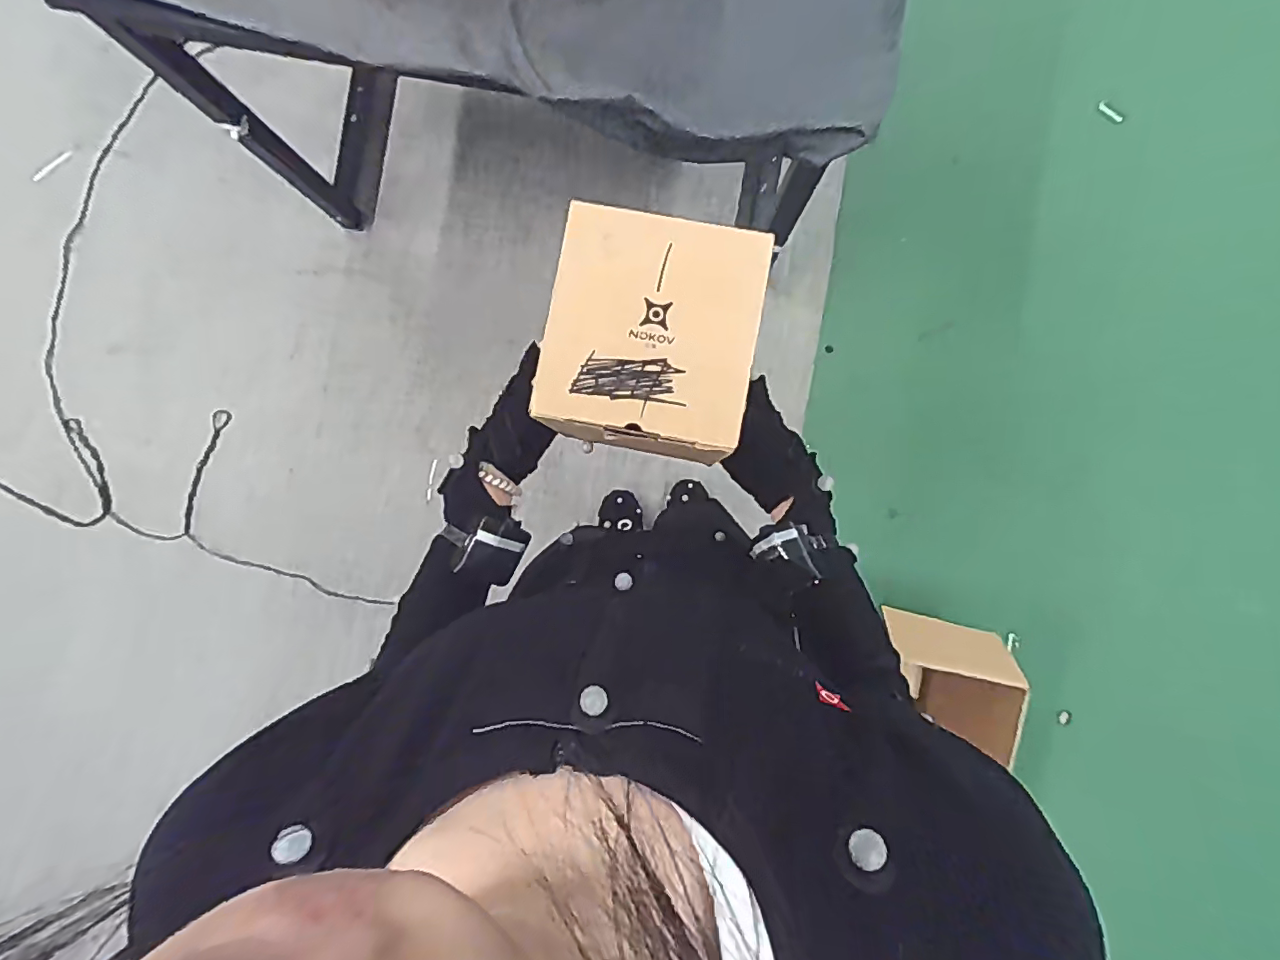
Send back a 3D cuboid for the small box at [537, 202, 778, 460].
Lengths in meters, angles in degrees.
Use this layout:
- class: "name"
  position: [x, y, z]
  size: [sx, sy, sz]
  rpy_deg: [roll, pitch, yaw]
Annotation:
- class: "small box"
  position: [0.015, -0.119, 0.505]
  size: [0.168, 0.176, 0.179]
  rpy_deg: [11, 88, 1]
